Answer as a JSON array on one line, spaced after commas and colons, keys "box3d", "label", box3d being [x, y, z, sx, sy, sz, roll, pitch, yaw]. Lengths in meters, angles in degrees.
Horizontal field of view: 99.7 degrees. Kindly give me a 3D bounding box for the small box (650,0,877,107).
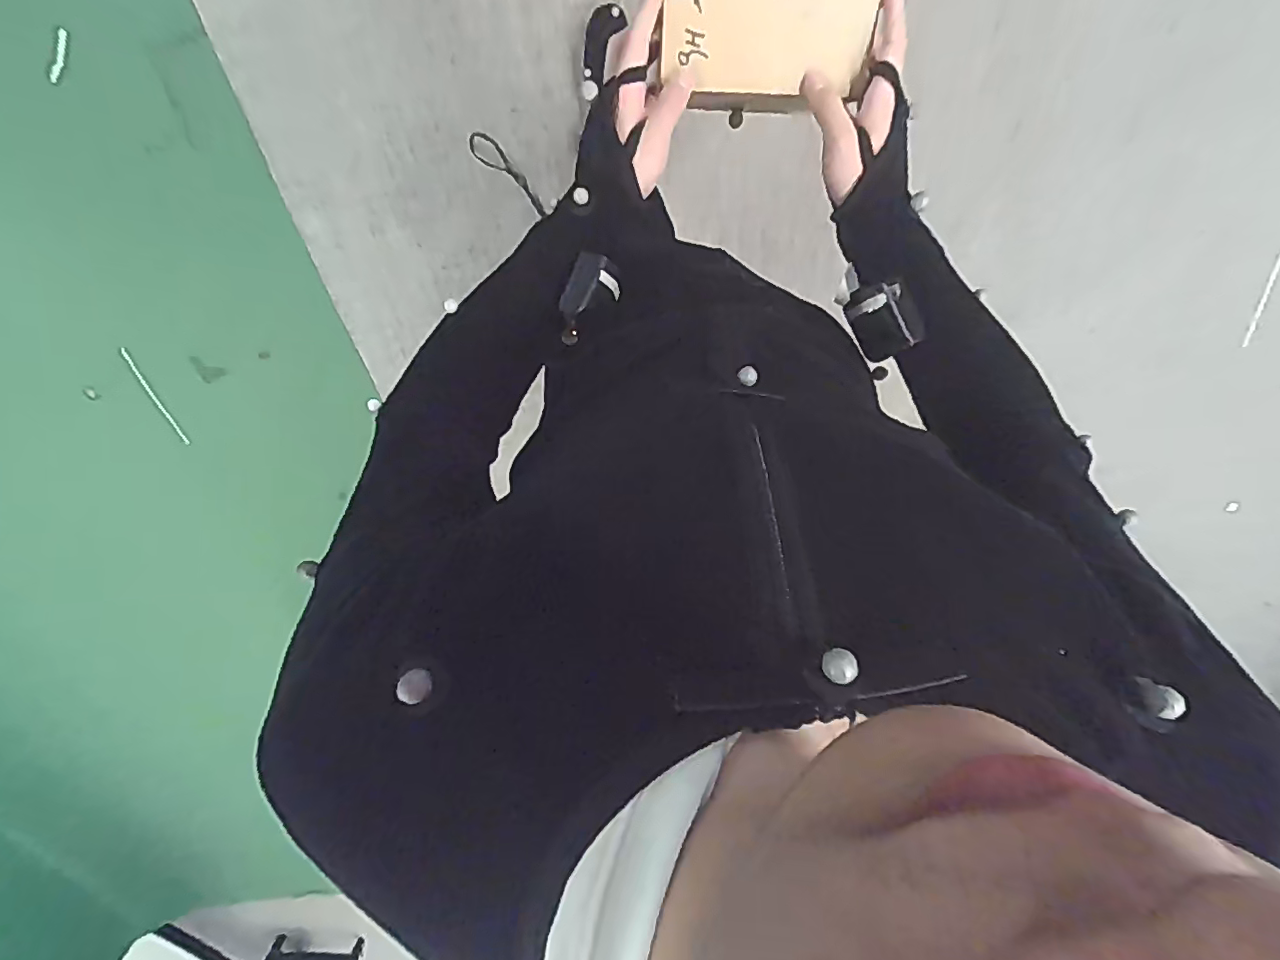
[{"box3d": [0.103, -0.443, 0.485, 0.179, 0.176, 0.168, 2, 120, -1], "label": "small box"}]
